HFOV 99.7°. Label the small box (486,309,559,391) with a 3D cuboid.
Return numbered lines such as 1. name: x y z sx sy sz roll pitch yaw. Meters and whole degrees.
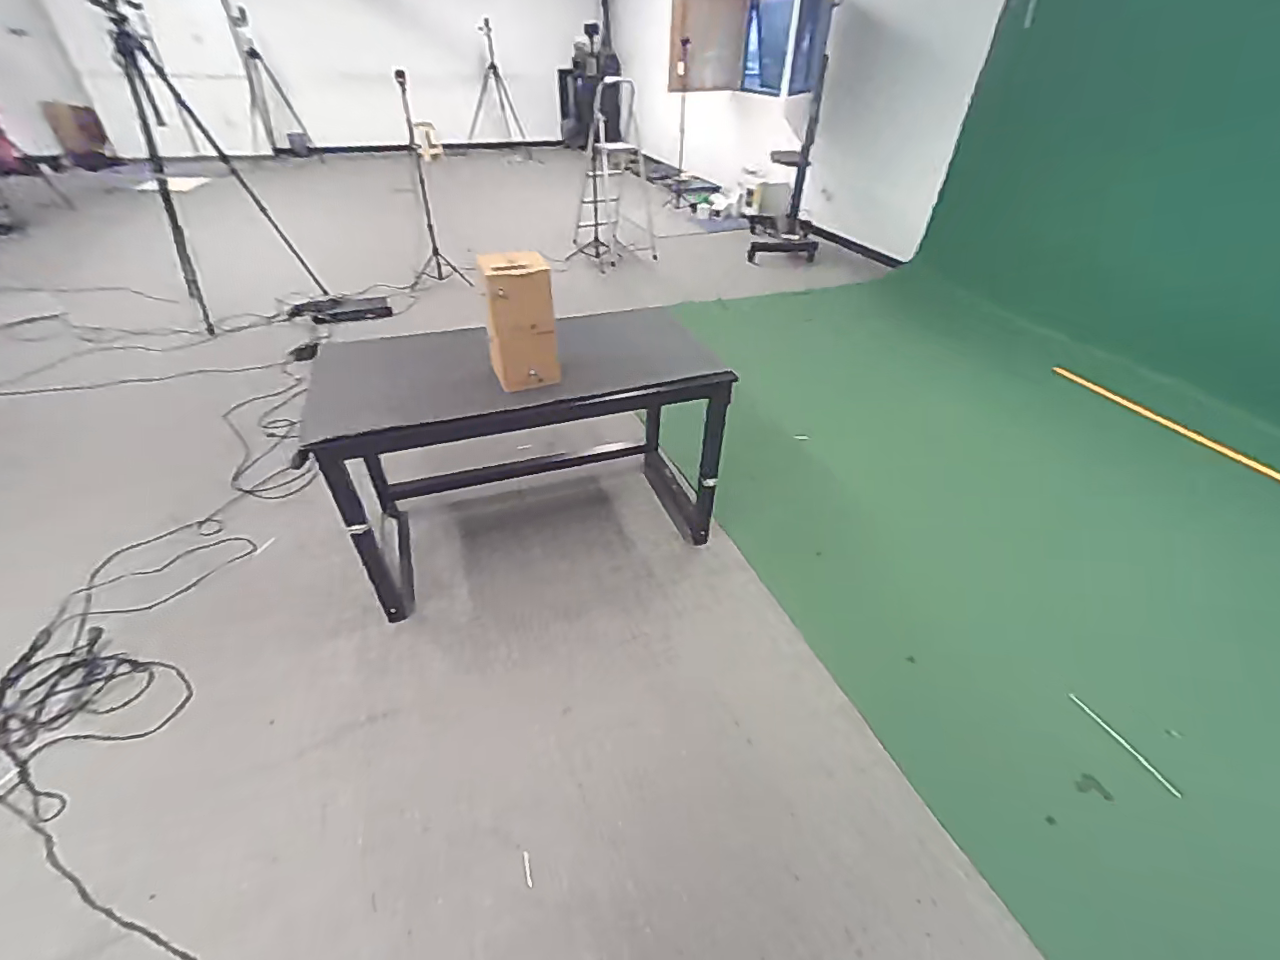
1. small box: -0.343 -0.380 1.576 0.168 0.176 0.179 -15 41 -19
